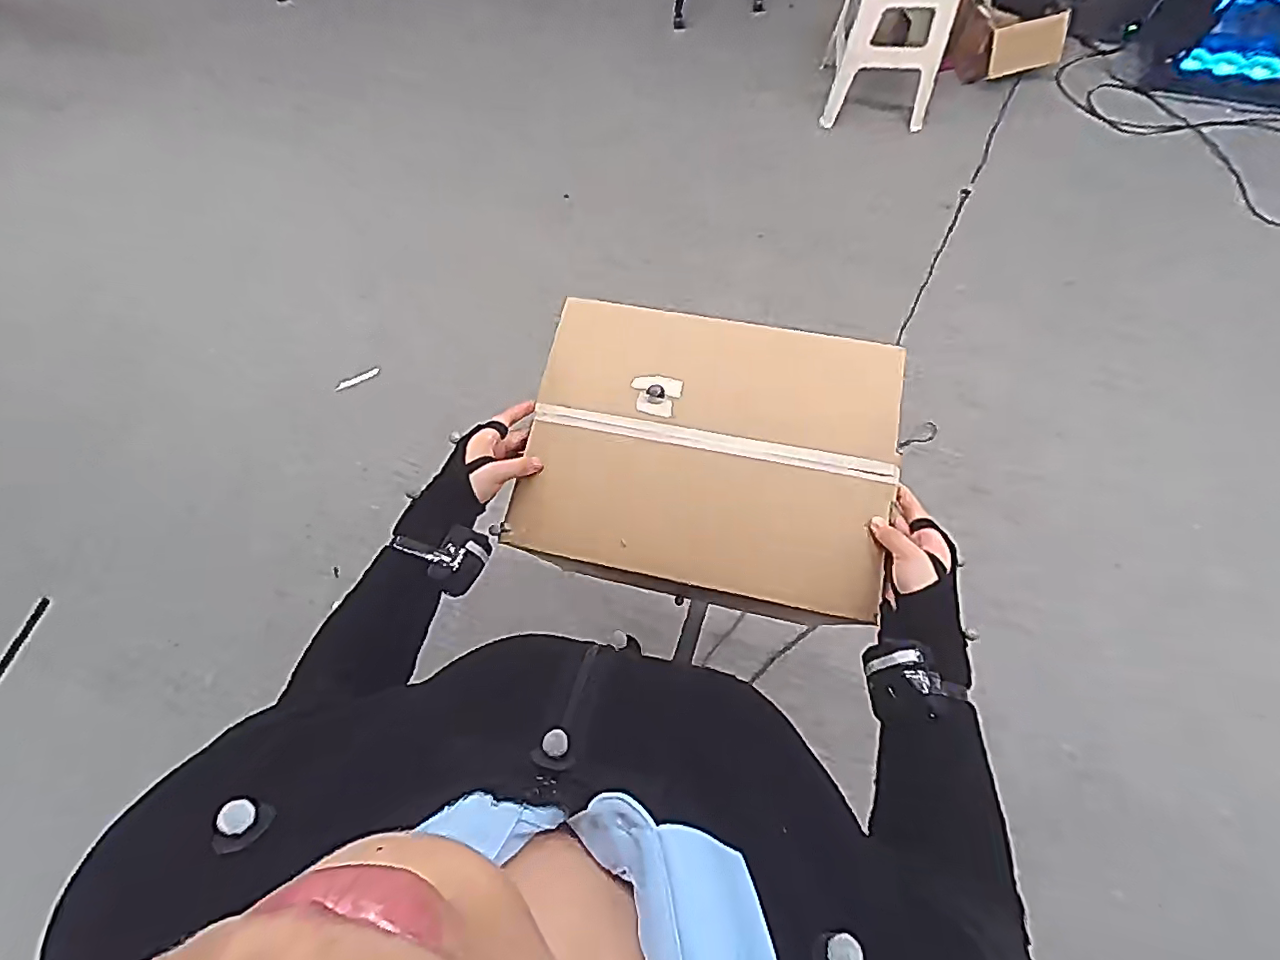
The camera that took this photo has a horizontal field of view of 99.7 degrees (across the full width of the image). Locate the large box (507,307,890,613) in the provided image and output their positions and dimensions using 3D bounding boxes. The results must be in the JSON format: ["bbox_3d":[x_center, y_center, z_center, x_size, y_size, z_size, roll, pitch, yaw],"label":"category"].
[{"bbox_3d":[0.086,-0.004,0.760,0.408,0.320,0.320,10,74,8],"label":"large box"}]
